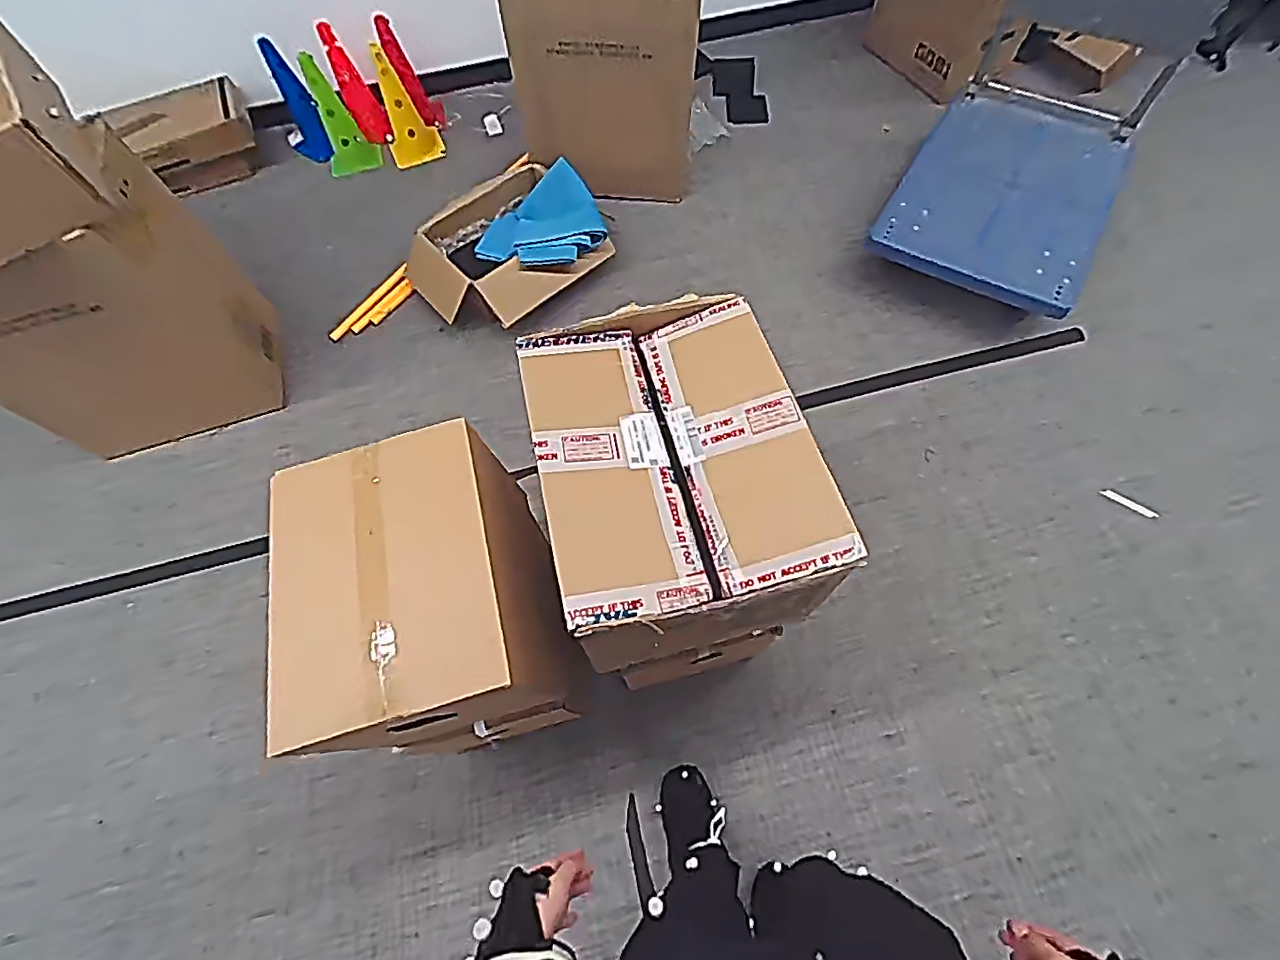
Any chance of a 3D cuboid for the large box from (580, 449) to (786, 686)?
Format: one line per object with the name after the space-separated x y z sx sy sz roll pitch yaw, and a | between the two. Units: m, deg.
0.074 0.203 1.208 0.320 0.320 0.408 -15 65 -5 | large box
